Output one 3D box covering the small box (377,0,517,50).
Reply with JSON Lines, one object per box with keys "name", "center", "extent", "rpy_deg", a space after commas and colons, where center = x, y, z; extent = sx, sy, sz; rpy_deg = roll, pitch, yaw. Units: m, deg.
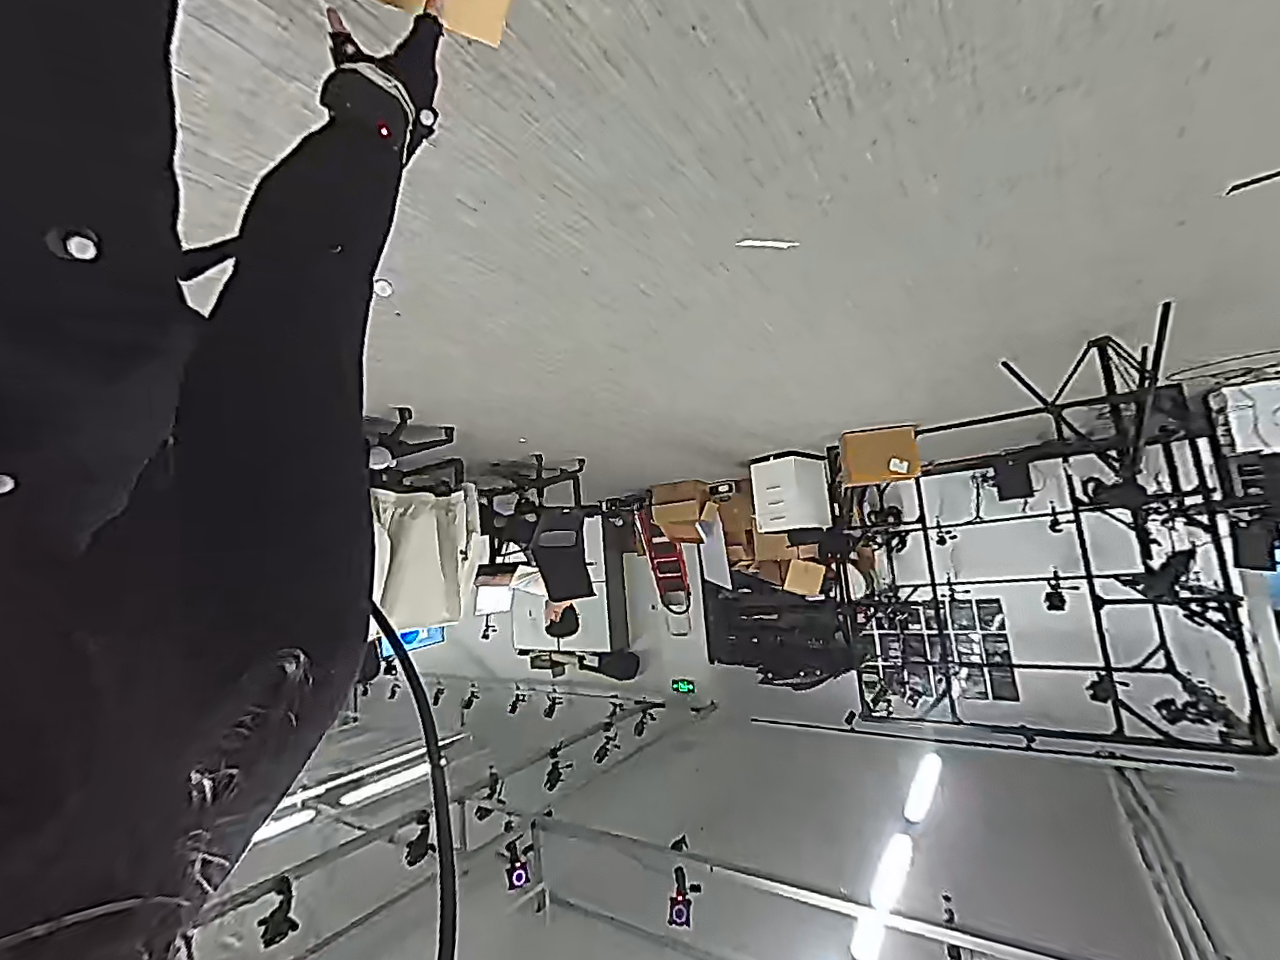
{"name": "small box", "center": [-0.192, -0.583, 0.513], "extent": [0.168, 0.176, 0.179], "rpy_deg": [2, 170, -29]}
